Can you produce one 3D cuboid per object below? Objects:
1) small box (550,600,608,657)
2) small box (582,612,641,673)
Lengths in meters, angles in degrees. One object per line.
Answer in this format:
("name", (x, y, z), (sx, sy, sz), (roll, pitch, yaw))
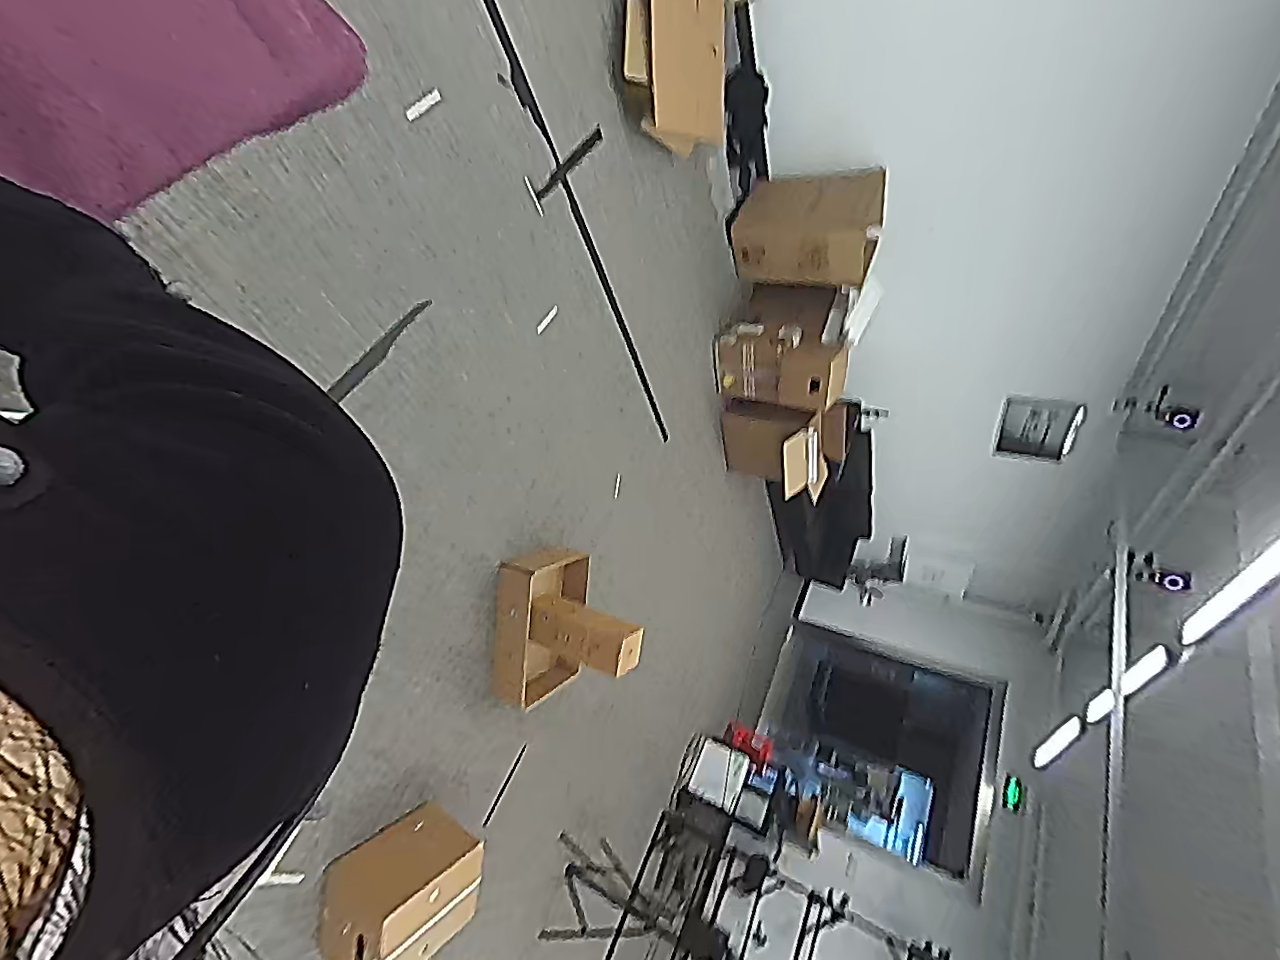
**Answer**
("small box", (-0.261, 0.626, 2.300), (0.179, 0.176, 0.168), (-5, 105, -60))
("small box", (-0.118, 0.662, 2.231), (0.179, 0.176, 0.168), (-7, 107, -61))
